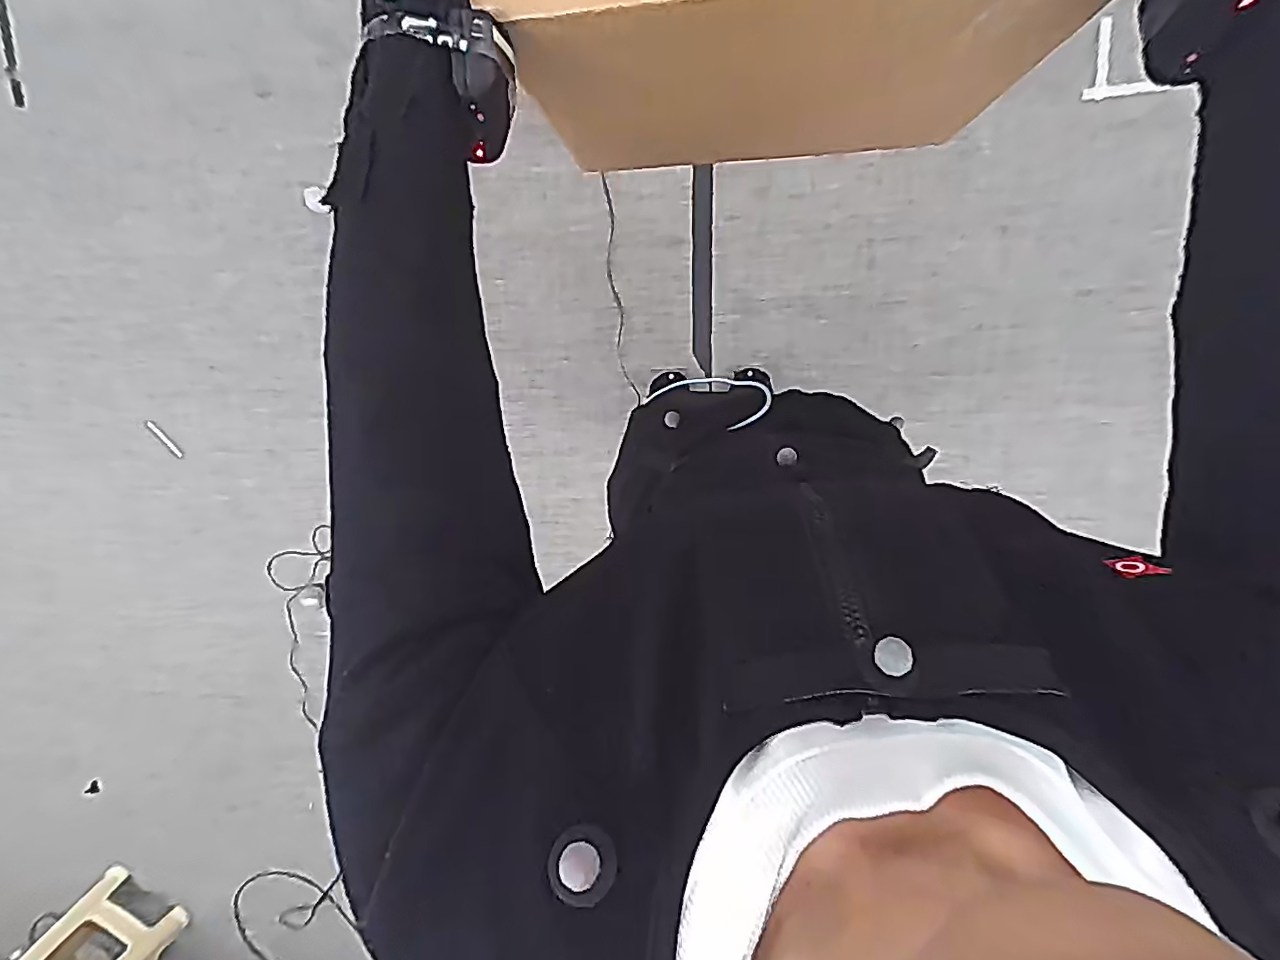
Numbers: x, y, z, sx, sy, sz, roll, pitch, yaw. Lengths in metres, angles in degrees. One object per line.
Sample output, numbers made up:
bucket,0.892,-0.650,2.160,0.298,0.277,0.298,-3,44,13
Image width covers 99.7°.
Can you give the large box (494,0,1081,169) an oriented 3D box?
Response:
large box,0.107,-0.482,0.434,0.408,0.320,0.320,-1,104,6
